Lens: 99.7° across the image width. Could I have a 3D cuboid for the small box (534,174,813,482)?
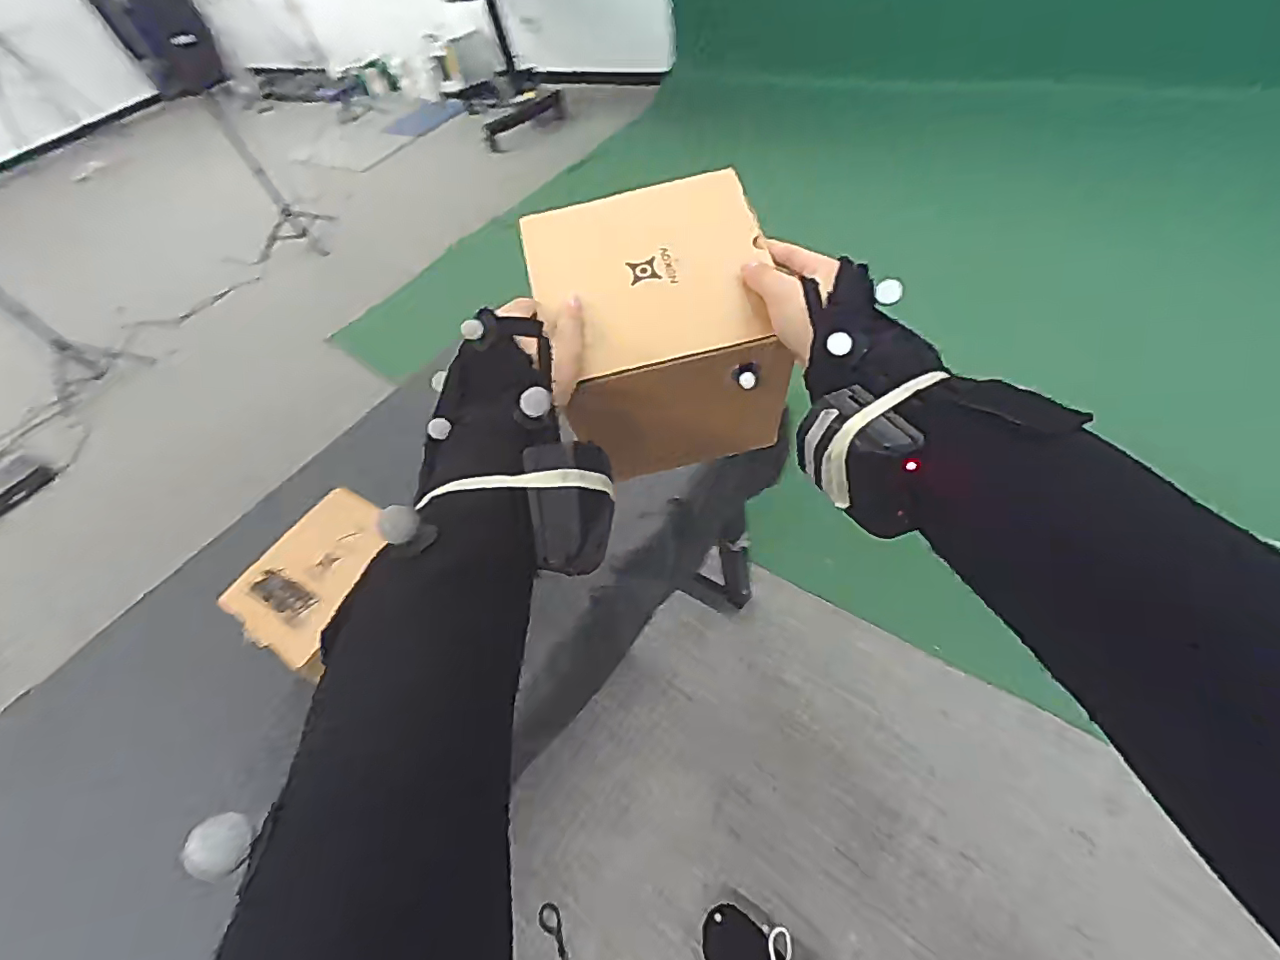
[{"bbox_3d":[0.024,-0.115,0.461,0.179,0.176,0.168,-13,65,0],"label":"small box"}]
